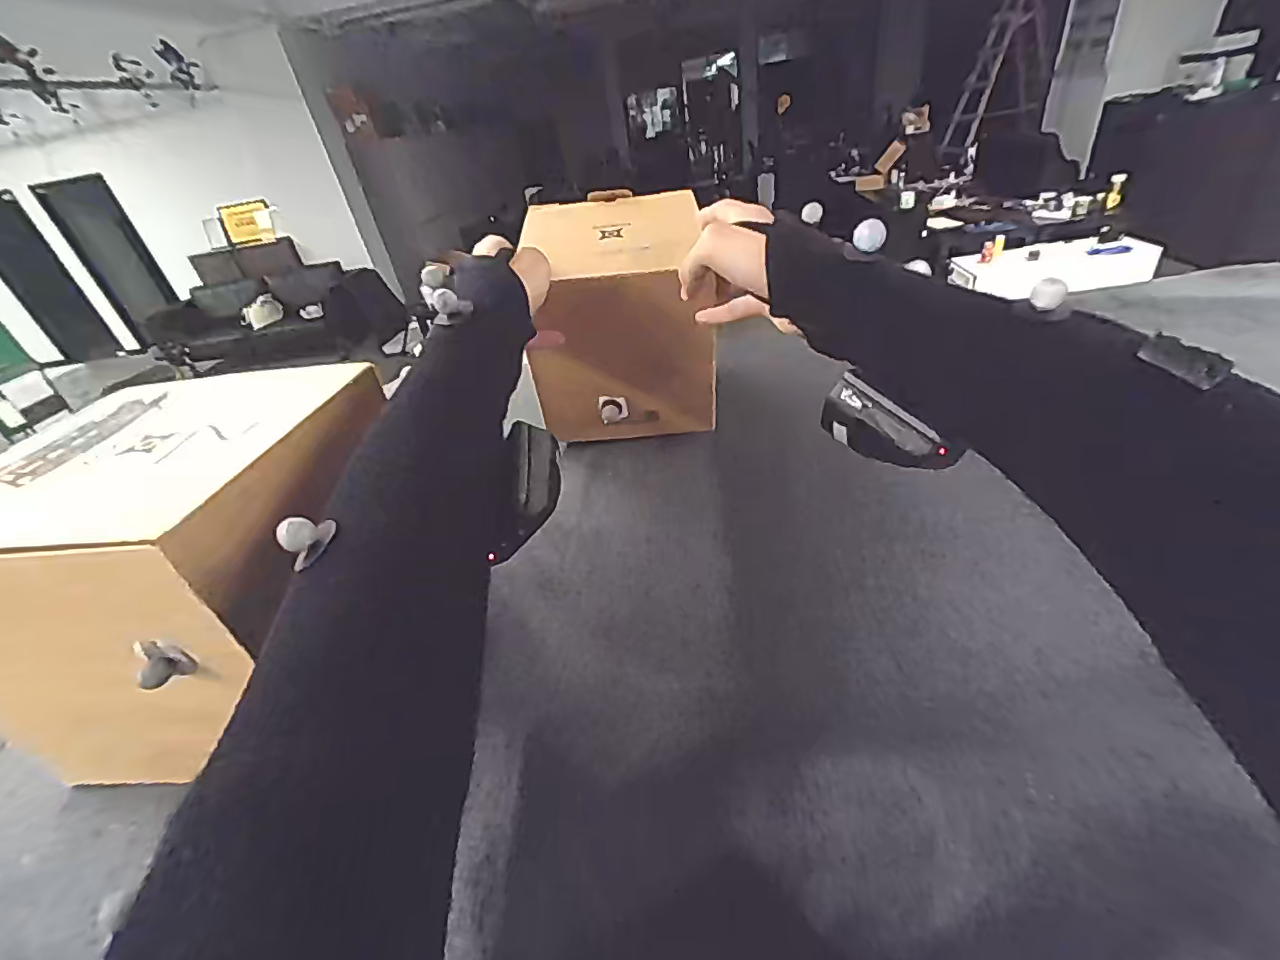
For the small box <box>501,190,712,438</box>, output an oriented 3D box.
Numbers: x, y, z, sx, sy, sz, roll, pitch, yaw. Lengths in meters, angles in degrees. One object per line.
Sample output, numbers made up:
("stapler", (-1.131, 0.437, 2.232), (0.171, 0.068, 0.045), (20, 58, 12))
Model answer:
("small box", (-0.023, -0.162, 0.527), (0.168, 0.176, 0.179), (-6, 43, 2))
